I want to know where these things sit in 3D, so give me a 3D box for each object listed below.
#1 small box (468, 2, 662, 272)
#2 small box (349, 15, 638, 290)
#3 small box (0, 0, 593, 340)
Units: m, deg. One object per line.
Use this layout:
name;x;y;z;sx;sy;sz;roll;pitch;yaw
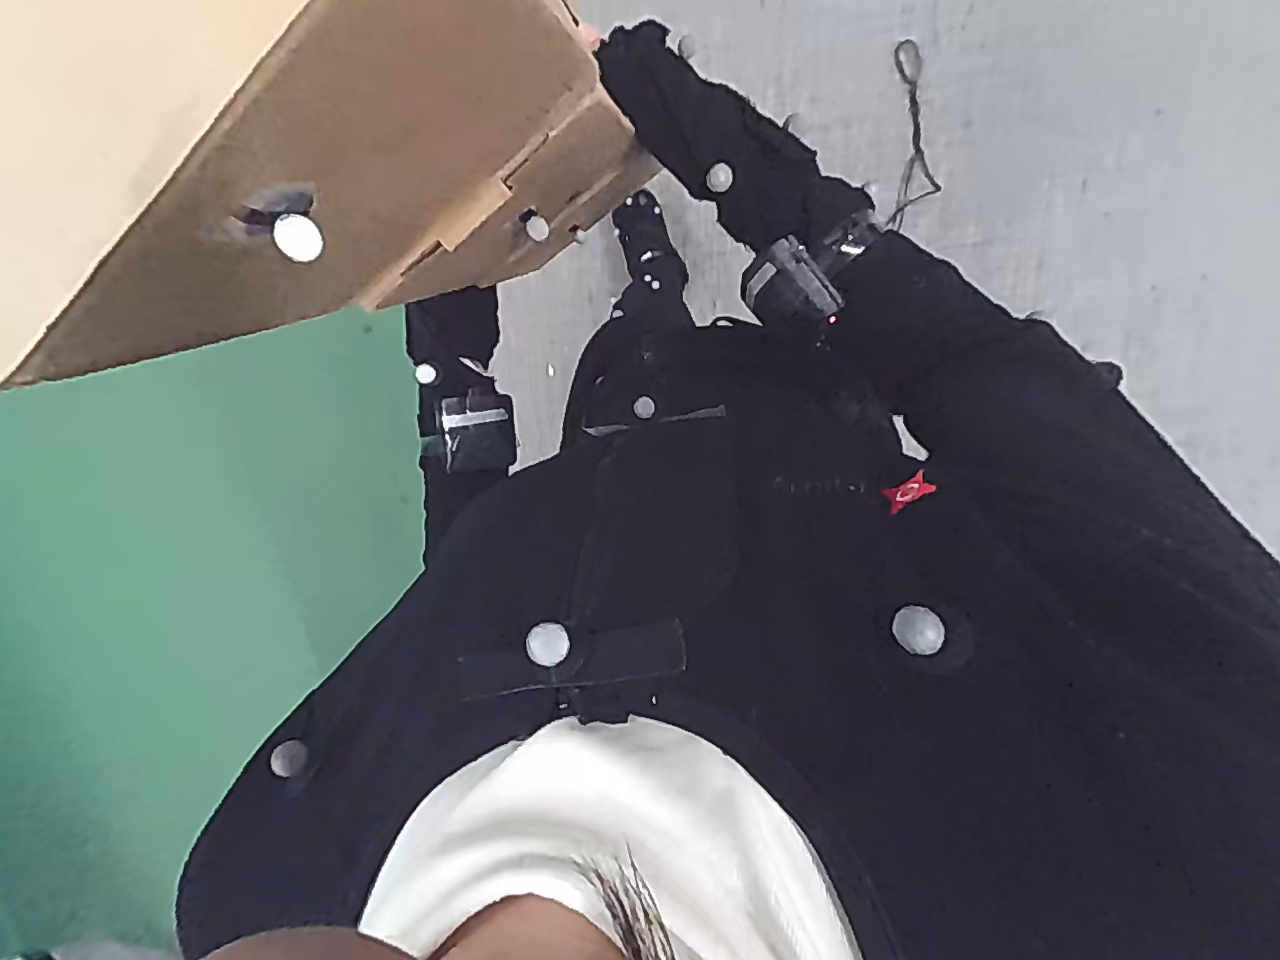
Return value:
small box;-0.093;-0.304;0.454;0.179;0.176;0.168;-29;109;20
small box;-0.117;-0.239;0.306;0.168;0.176;0.179;-29;109;20
small box;-0.136;-0.170;0.160;0.179;0.176;0.168;-29;110;19
